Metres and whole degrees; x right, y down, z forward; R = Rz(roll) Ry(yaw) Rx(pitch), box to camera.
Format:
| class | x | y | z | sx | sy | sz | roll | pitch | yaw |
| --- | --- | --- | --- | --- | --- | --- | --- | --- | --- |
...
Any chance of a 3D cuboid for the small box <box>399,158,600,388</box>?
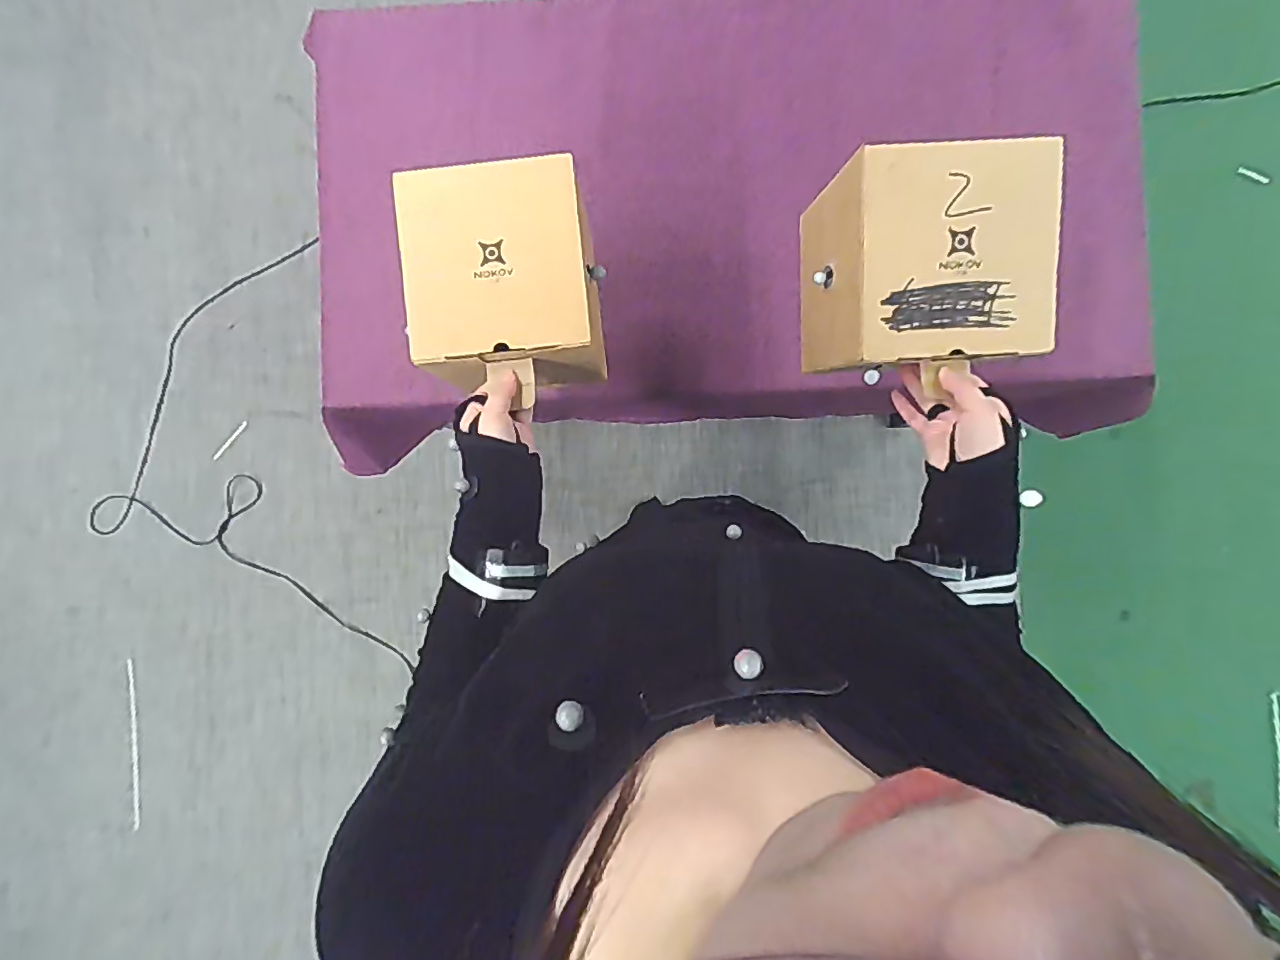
| class | x | y | z | sx | sy | sz | roll | pitch | yaw |
| --- | --- | --- | --- | --- | --- | --- | --- | --- | --- |
| small box | -0.136 | -0.206 | 0.581 | 0.168 | 0.176 | 0.179 | -6 | 90 | 1 |
